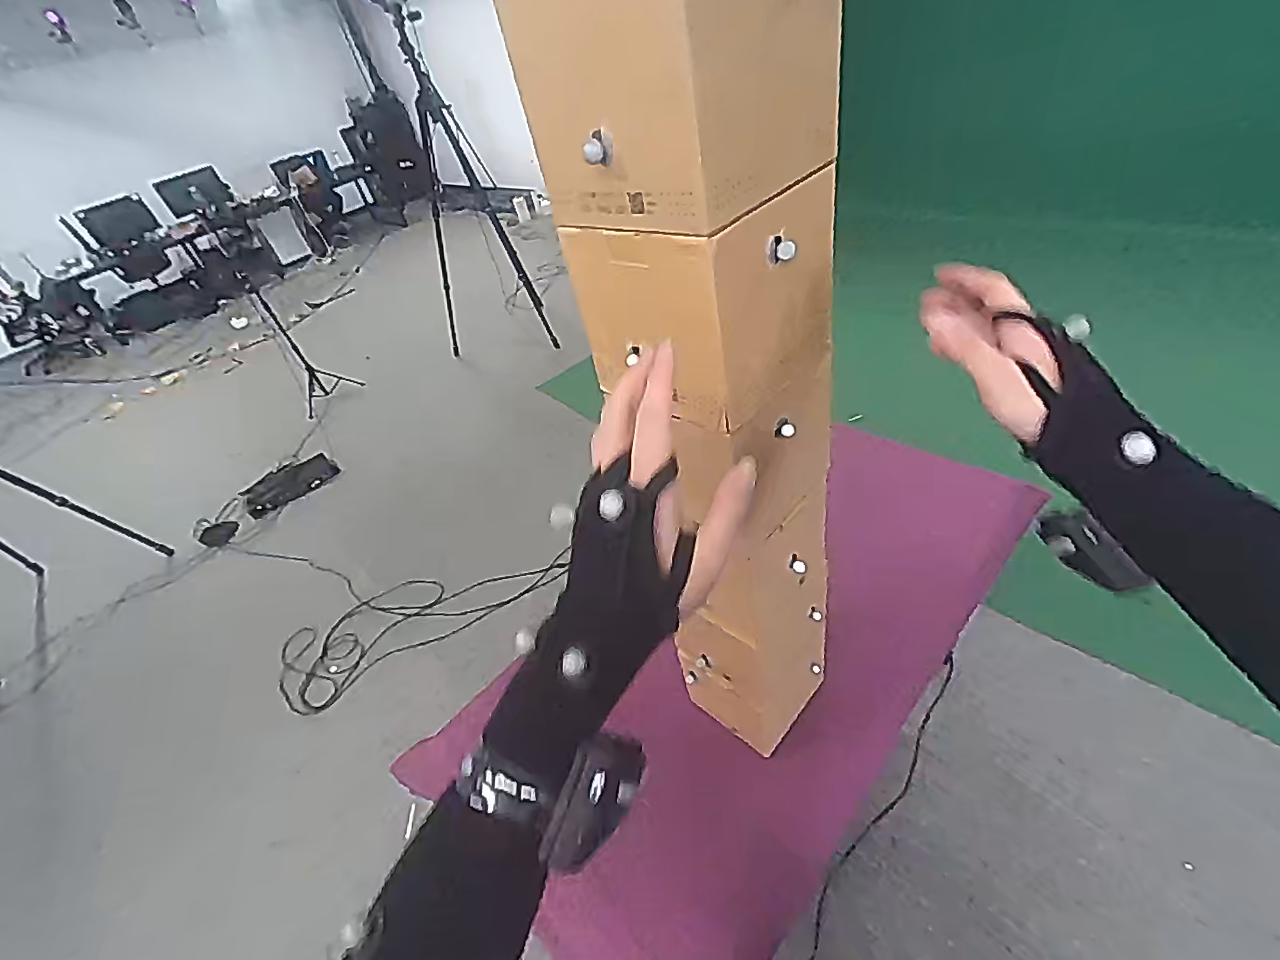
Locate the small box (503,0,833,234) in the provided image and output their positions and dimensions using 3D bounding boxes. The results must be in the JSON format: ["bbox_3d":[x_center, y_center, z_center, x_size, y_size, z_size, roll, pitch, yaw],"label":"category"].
[{"bbox_3d":[0.027,-0.302,0.400,0.168,0.176,0.179,25,55,38],"label":"small box"}]

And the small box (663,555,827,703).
[{"bbox_3d":[0.159,0.189,0.810,0.168,0.176,0.179,26,55,39],"label":"small box"}]

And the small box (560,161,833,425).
[{"bbox_3d":[0.059,-0.178,0.503,0.168,0.176,0.179,25,54,38],"label":"small box"}]

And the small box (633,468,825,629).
[{"bbox_3d":[0.121,0.066,0.709,0.179,0.176,0.168,25,54,38],"label":"small box"}]

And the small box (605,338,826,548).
[{"bbox_3d":[0.092,-0.055,0.602,0.168,0.176,0.179,25,53,38],"label":"small box"}]
